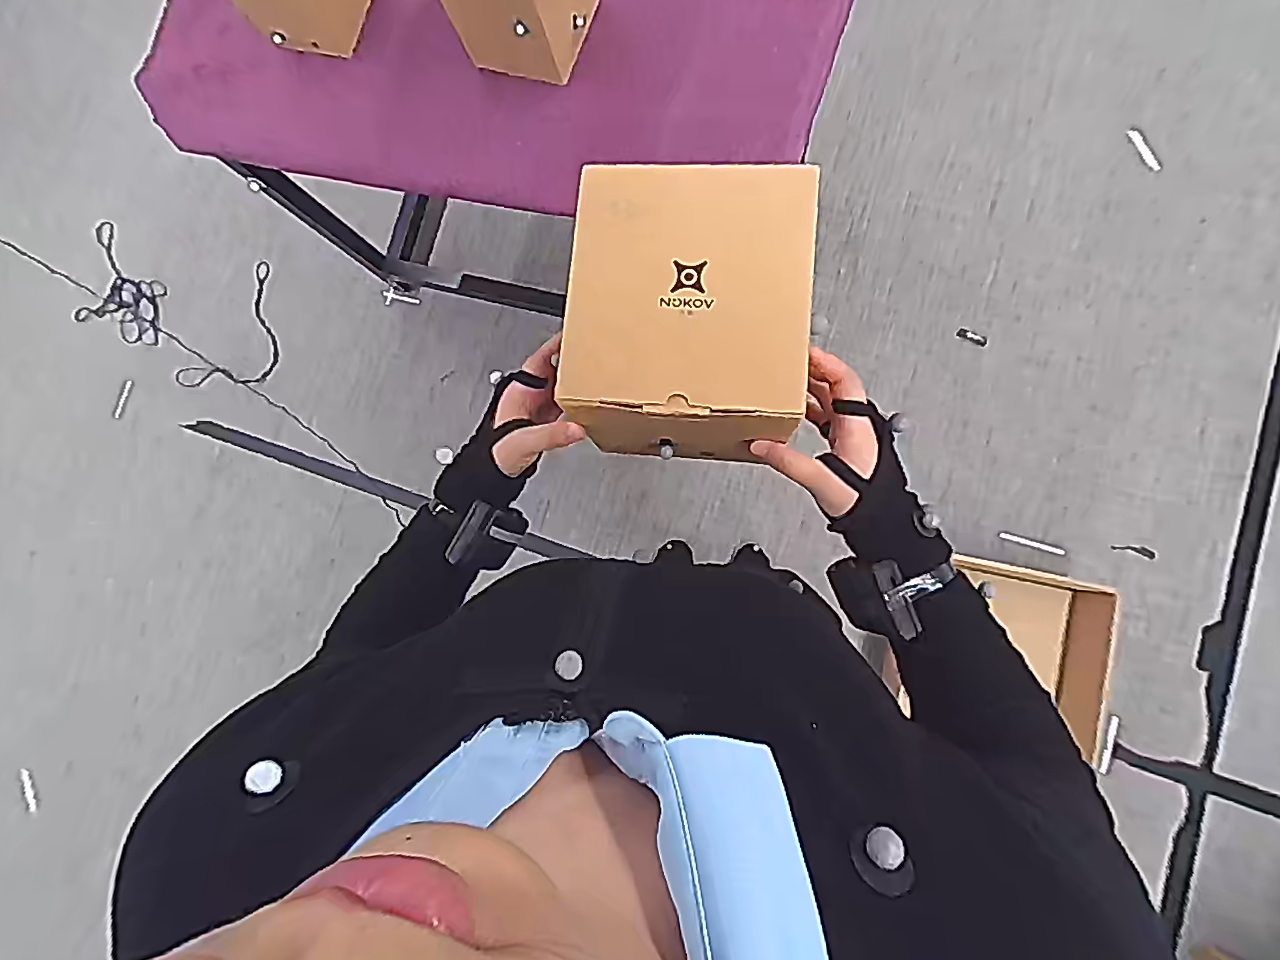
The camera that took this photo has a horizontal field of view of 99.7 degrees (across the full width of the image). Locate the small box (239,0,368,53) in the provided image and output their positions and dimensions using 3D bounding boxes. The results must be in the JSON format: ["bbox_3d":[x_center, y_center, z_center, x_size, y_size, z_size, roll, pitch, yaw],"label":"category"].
[{"bbox_3d":[-0.591,-0.879,0.920,0.168,0.176,0.179,17,86,10],"label":"small box"}]

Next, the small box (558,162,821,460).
[{"bbox_3d":[0.041,-0.122,0.440,0.168,0.176,0.179,4,83,7],"label":"small box"}]
